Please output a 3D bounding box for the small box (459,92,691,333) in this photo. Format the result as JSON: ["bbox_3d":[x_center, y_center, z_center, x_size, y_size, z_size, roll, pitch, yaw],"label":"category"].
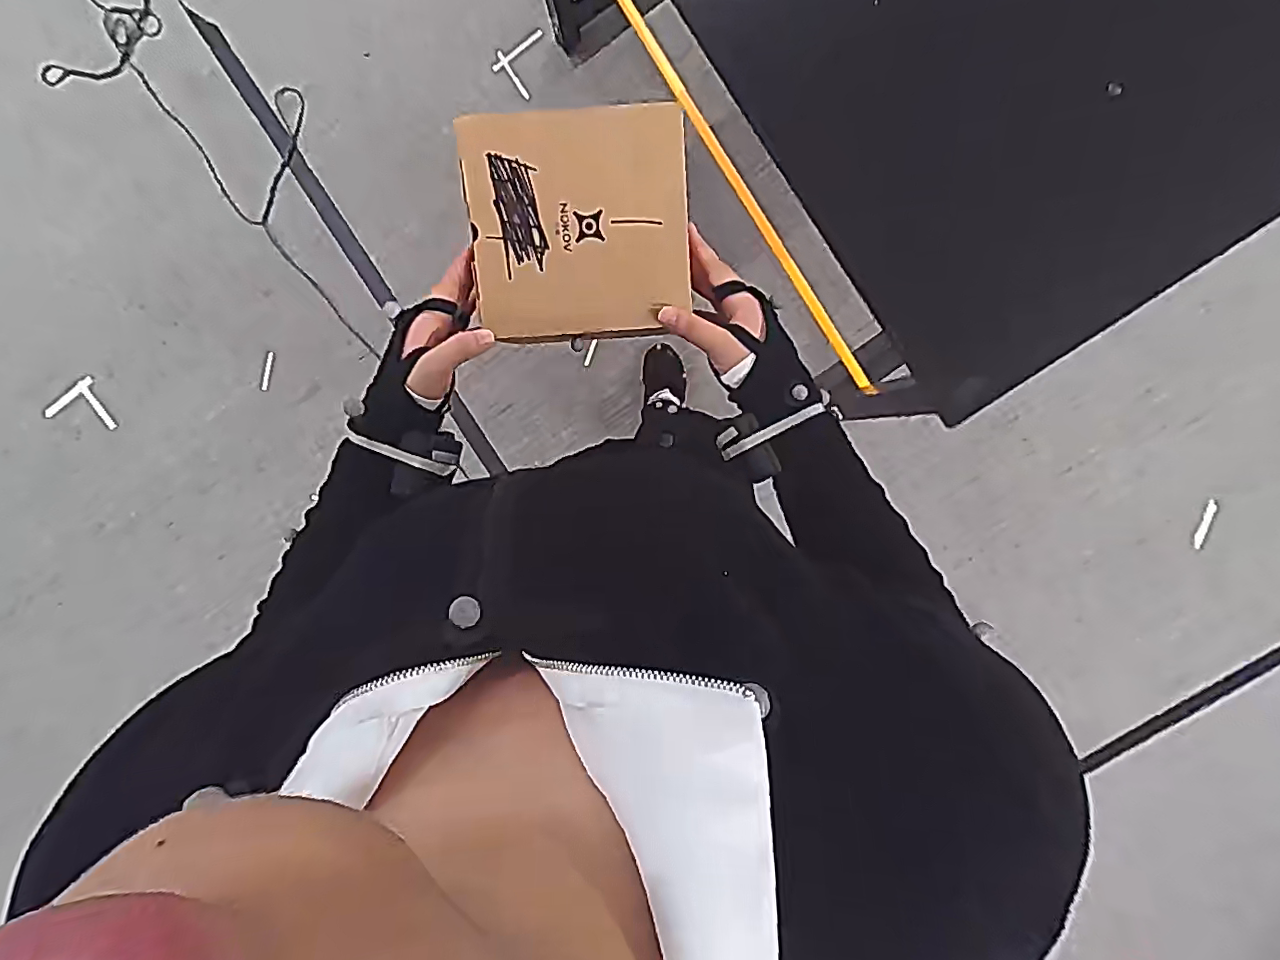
[{"bbox_3d":[-0.051,-0.230,0.507,0.179,0.176,0.168,-4,104,-2],"label":"small box"}]
